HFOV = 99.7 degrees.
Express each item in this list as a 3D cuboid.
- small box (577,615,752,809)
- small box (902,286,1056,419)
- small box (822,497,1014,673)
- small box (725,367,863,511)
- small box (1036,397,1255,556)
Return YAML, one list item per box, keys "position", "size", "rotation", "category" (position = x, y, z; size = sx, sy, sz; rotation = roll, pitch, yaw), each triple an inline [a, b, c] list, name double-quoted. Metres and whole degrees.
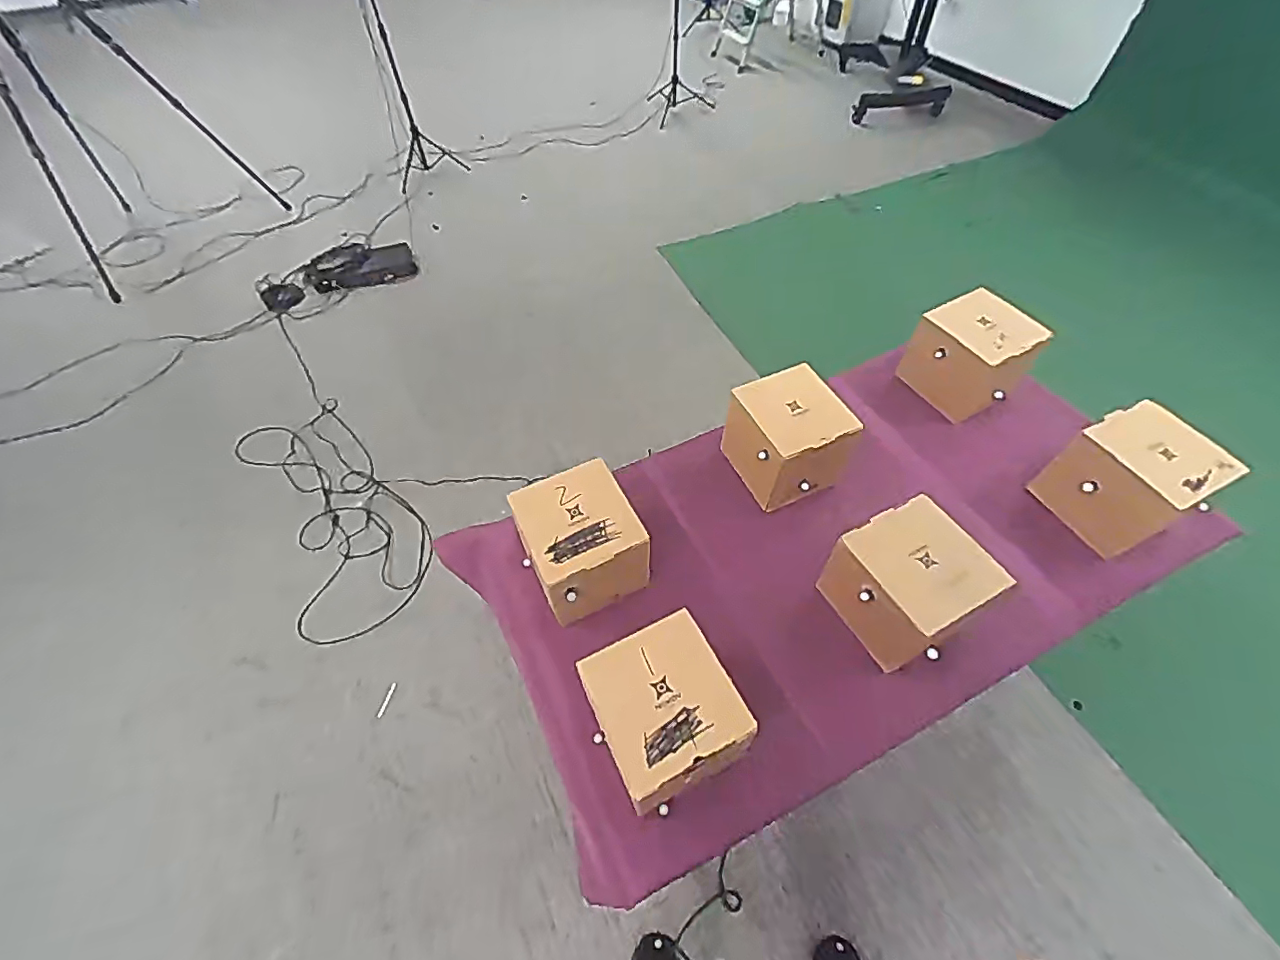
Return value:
- position: [0.032, 0.322, 0.739]
  size: [0.168, 0.176, 0.179]
  rotation: [-24, 54, -14]
  category: "small box"
- position: [0.678, -0.258, 1.110]
  size: [0.168, 0.176, 0.179]
  rotation: [-26, 58, -11]
  category: "small box"
- position: [0.407, 0.164, 0.831]
  size: [0.168, 0.176, 0.179]
  rotation: [-24, 56, -12]
  category: "small box"
- position: [0.273, -0.074, 1.010]
  size: [0.168, 0.176, 0.179]
  rotation: [-22, 58, -12]
  category: "small box"
- position: [0.835, -0.003, 0.919]
  size: [0.168, 0.176, 0.179]
  rotation: [-24, 57, -11]
  category: "small box"
